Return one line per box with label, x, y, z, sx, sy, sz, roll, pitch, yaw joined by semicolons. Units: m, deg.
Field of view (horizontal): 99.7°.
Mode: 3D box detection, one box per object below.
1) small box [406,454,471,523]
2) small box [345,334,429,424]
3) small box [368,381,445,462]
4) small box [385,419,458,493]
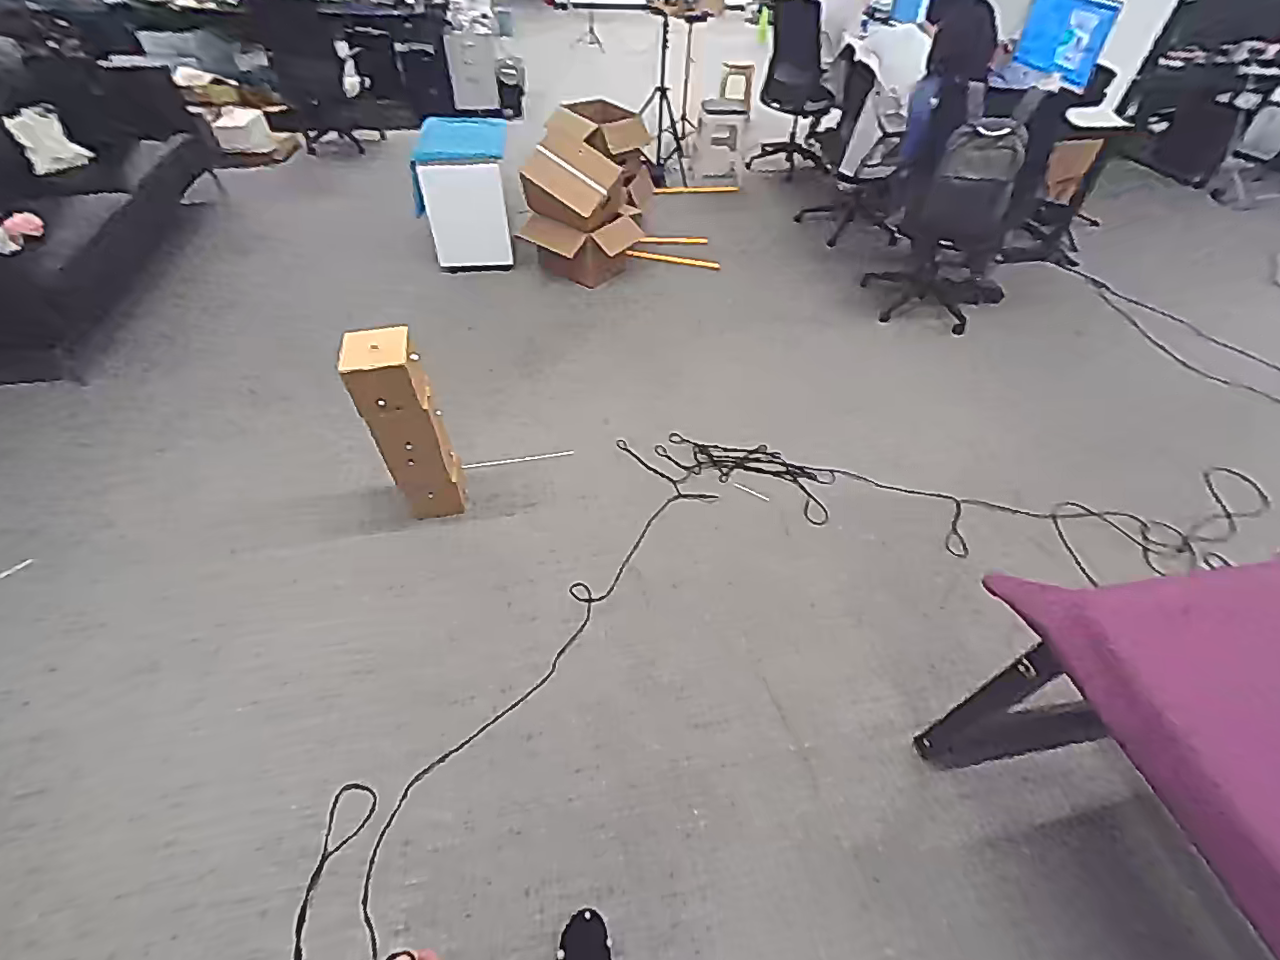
small box;-0.697;0.034;1.885;0.179;0.176;0.168;-8;48;-9
small box;-0.698;-0.282;1.509;0.168;0.176;0.179;-10;50;-9
small box;-0.695;-0.175;1.633;0.179;0.176;0.168;-10;49;-10
small box;-0.705;-0.075;1.762;0.179;0.176;0.168;-8;49;-8
